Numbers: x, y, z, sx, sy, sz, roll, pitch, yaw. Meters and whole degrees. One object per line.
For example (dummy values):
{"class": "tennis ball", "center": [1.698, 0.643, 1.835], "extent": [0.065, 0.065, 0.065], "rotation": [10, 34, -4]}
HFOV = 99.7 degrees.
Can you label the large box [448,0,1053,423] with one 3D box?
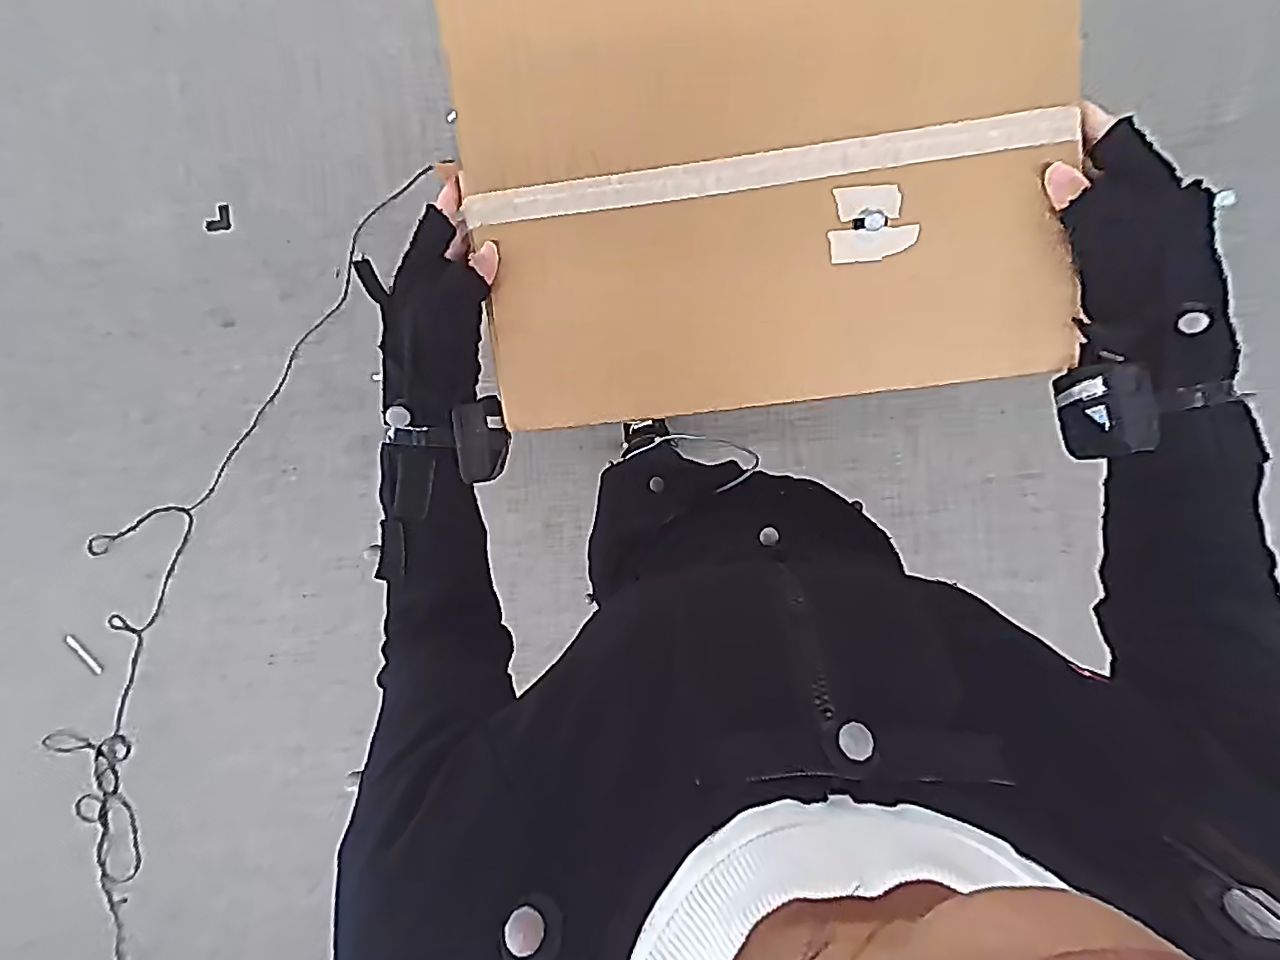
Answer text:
{"class": "large box", "center": [0.086, -0.240, 0.526], "extent": [0.408, 0.320, 0.320], "rotation": [-7, 99, 3]}
